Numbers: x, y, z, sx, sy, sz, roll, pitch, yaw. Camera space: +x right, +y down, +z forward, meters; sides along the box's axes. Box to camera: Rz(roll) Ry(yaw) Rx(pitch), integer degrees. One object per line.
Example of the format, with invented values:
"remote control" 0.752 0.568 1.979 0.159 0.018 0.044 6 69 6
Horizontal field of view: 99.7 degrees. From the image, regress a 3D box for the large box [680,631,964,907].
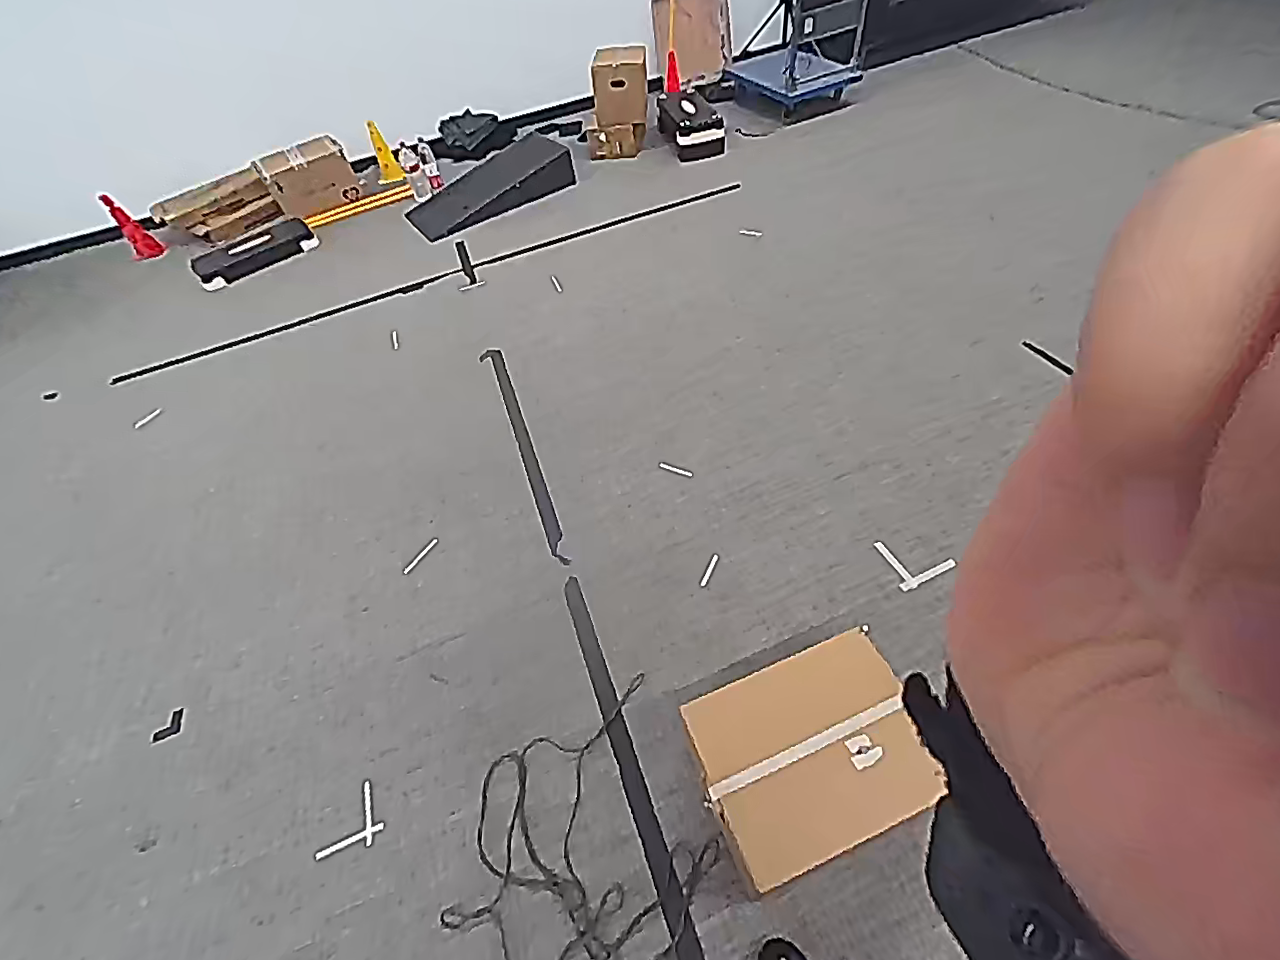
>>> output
"large box" 0.329 0.577 1.083 0.408 0.320 0.320 -21 51 -10
